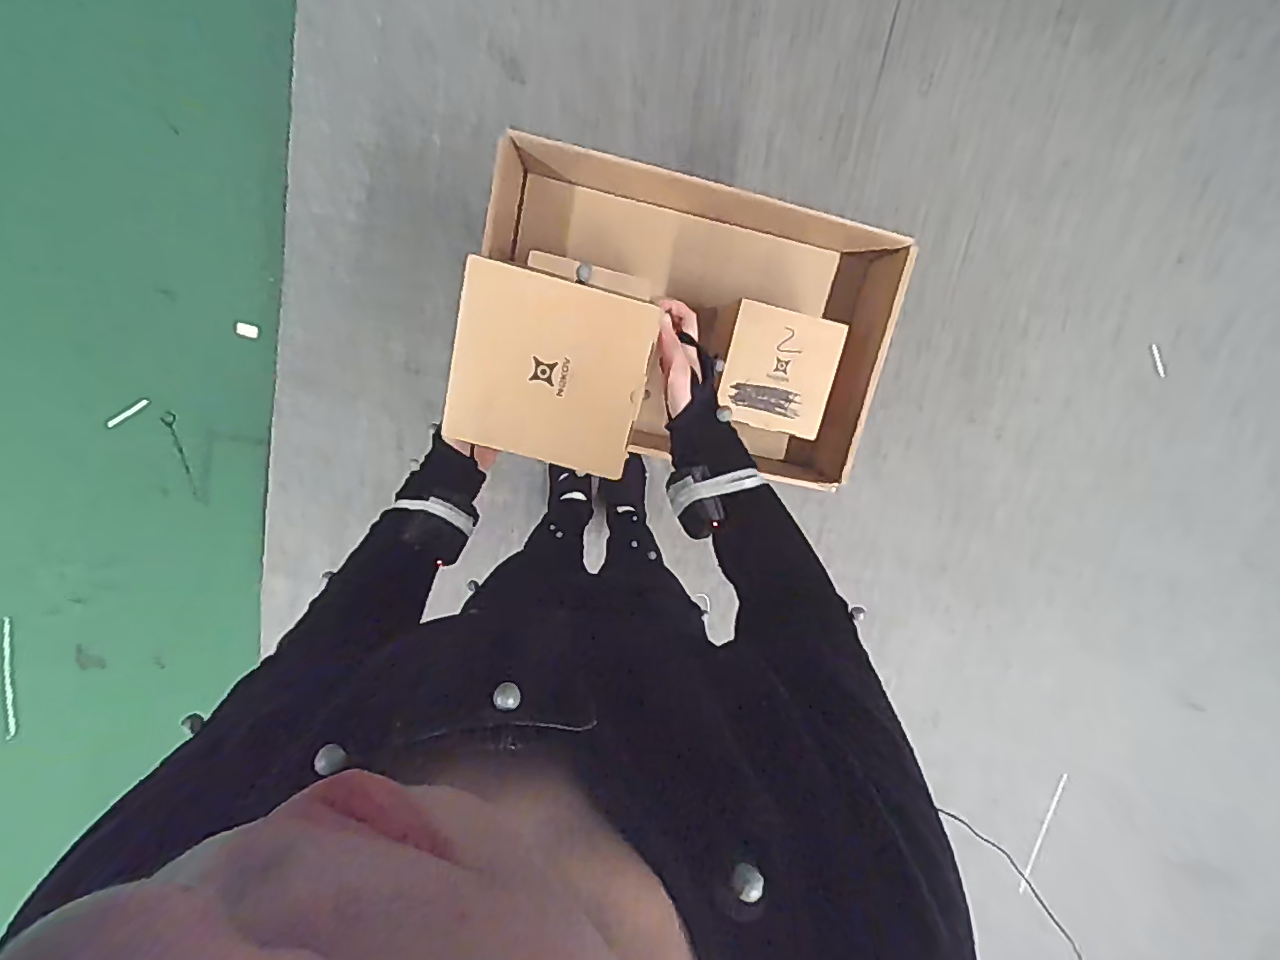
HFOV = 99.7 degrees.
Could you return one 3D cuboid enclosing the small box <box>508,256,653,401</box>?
[{"bbox_3d":[-0.090,-0.227,0.839,0.179,0.176,0.168,13,102,-7],"label":"small box"}]
